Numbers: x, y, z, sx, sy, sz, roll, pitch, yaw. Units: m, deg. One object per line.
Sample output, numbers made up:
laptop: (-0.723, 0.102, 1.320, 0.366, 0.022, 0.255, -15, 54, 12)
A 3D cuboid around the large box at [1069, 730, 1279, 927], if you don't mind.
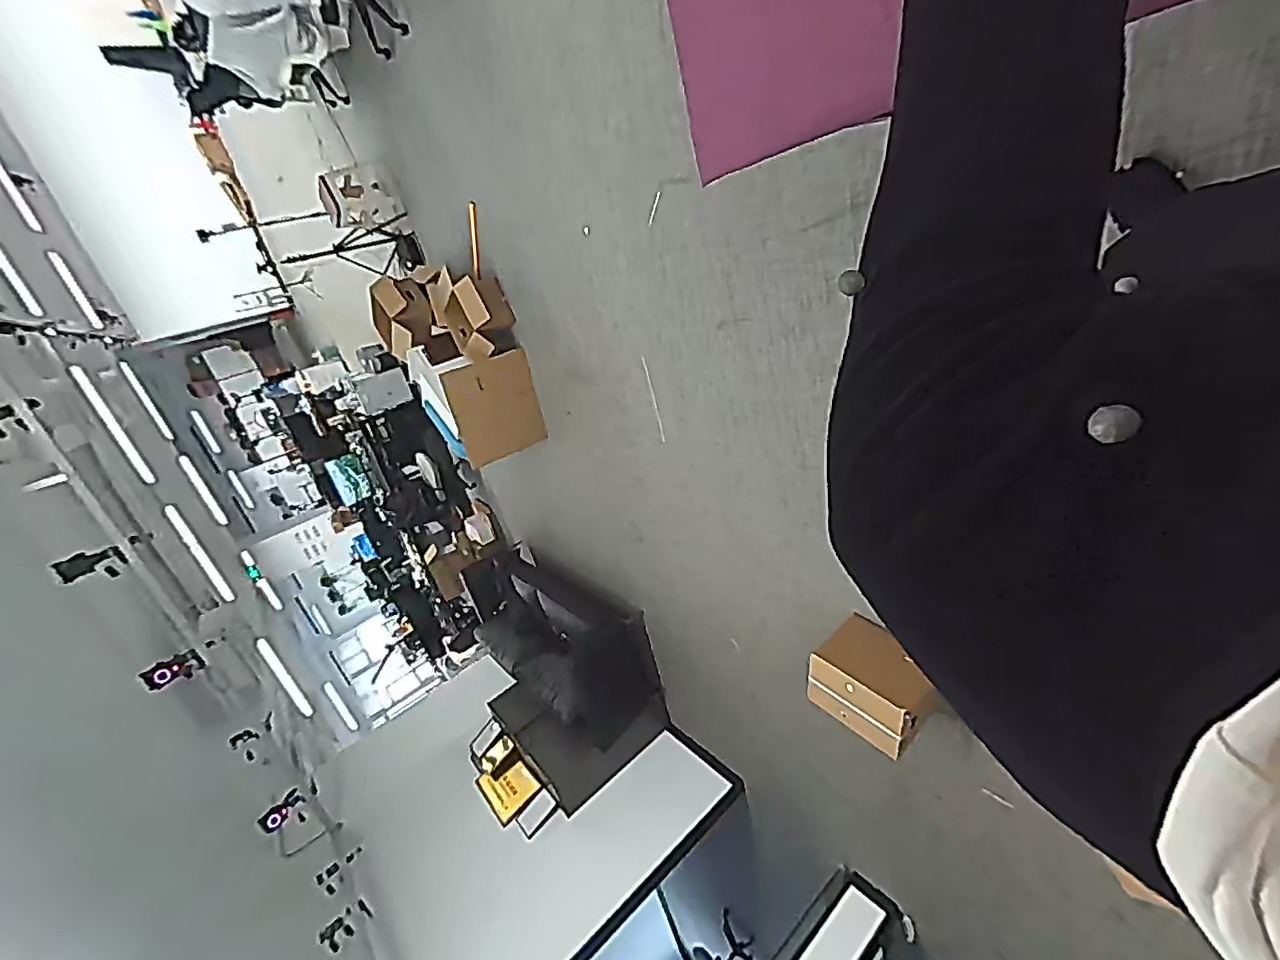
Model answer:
large box: (1.527, 0.926, 1.487, 0.320, 0.320, 0.408, 57, 149, 4)
